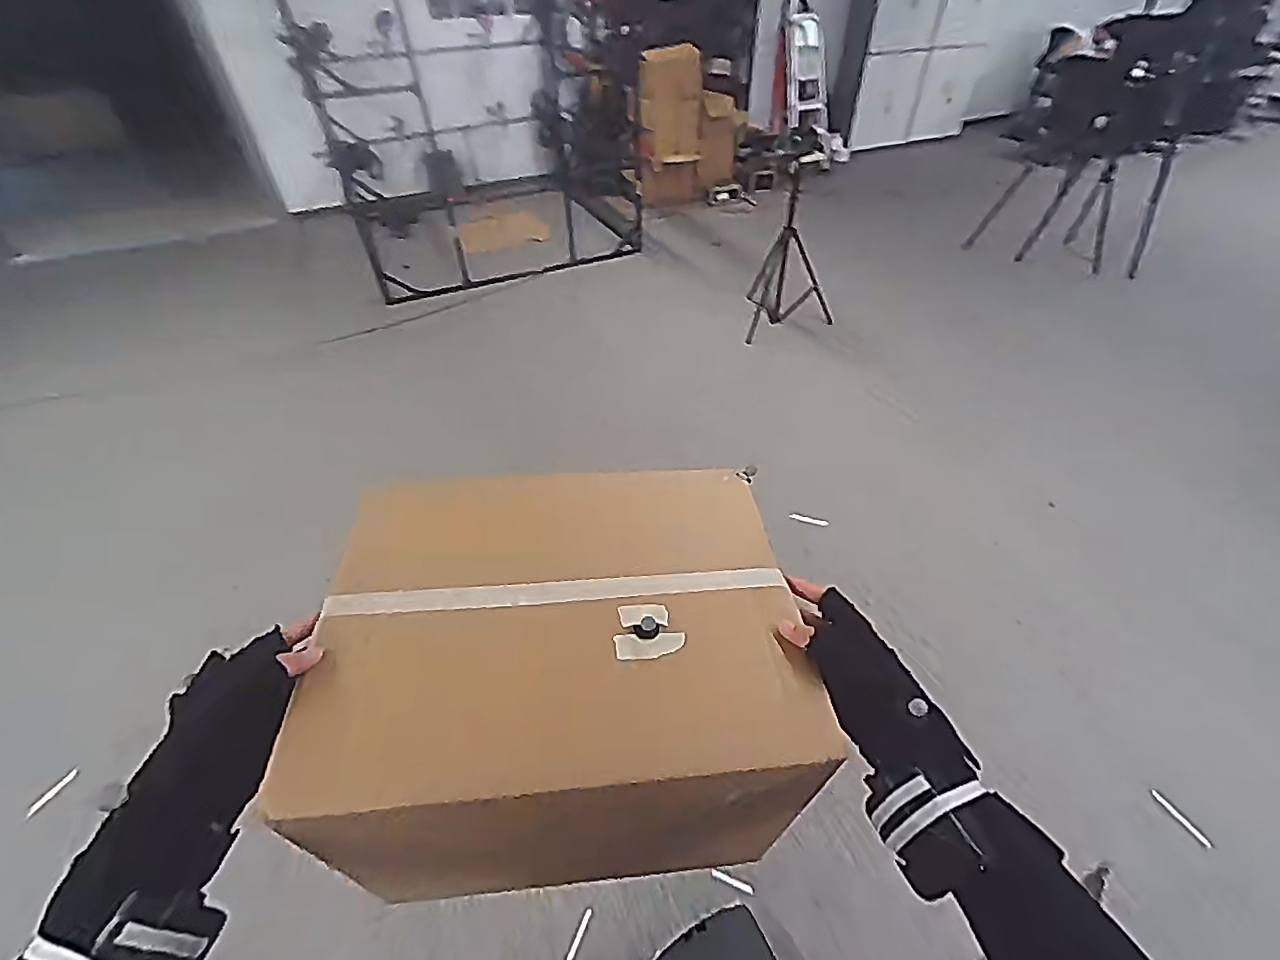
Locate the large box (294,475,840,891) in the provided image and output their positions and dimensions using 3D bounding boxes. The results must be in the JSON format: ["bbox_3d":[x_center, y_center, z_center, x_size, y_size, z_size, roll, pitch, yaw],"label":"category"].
[{"bbox_3d":[-0.068,0.213,0.596,0.408,0.320,0.320,-1,45,-7],"label":"large box"}]
